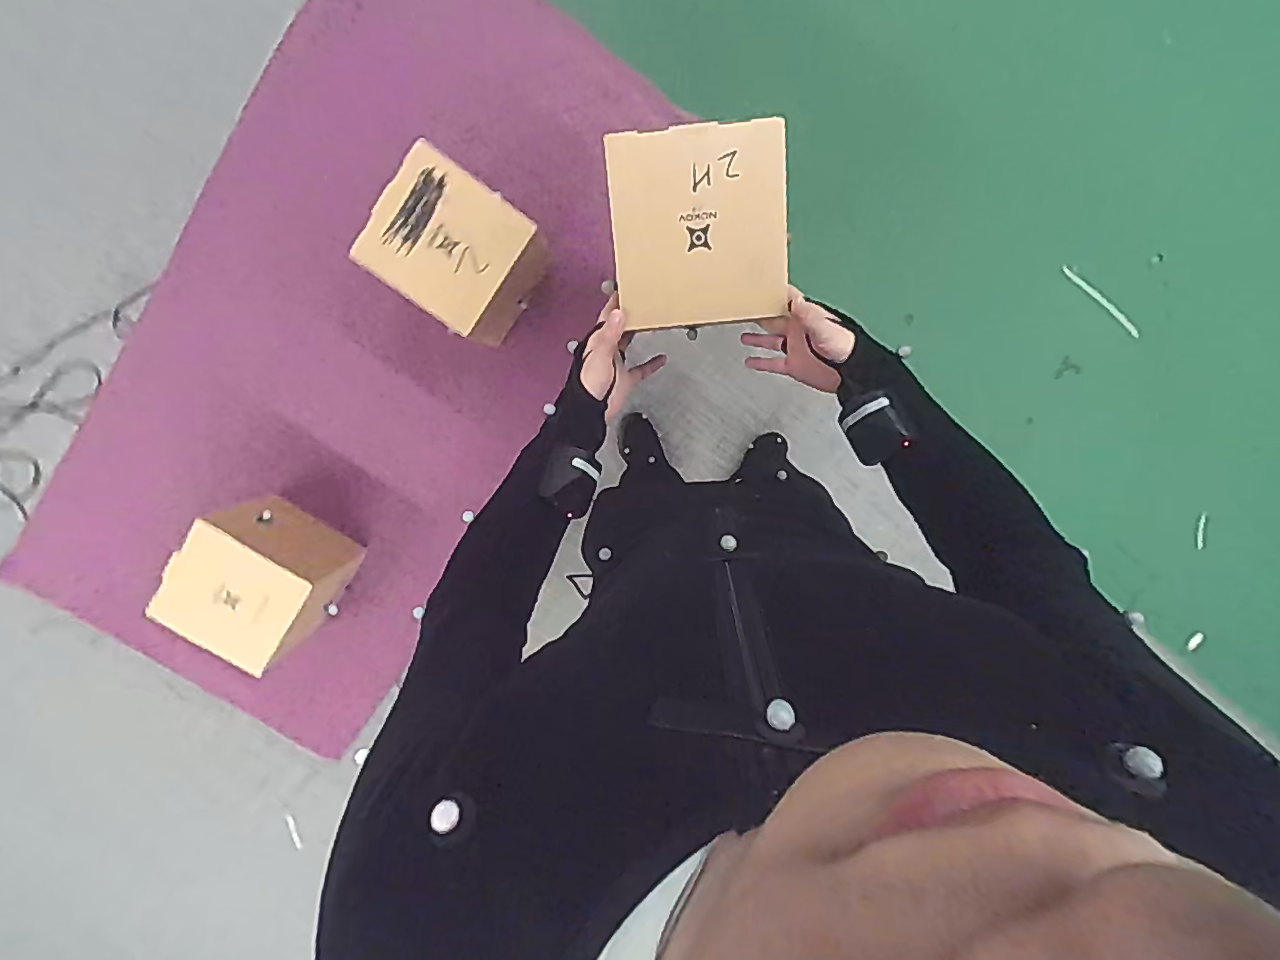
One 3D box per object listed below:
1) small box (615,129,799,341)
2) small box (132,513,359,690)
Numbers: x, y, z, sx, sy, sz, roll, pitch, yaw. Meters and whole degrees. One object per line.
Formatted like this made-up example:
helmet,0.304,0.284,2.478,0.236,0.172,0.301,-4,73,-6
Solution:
small box,0.064,-0.243,0.578,0.168,0.176,0.179,-3,104,1
small box,-0.566,0.164,0.800,0.179,0.176,0.168,34,97,-7
